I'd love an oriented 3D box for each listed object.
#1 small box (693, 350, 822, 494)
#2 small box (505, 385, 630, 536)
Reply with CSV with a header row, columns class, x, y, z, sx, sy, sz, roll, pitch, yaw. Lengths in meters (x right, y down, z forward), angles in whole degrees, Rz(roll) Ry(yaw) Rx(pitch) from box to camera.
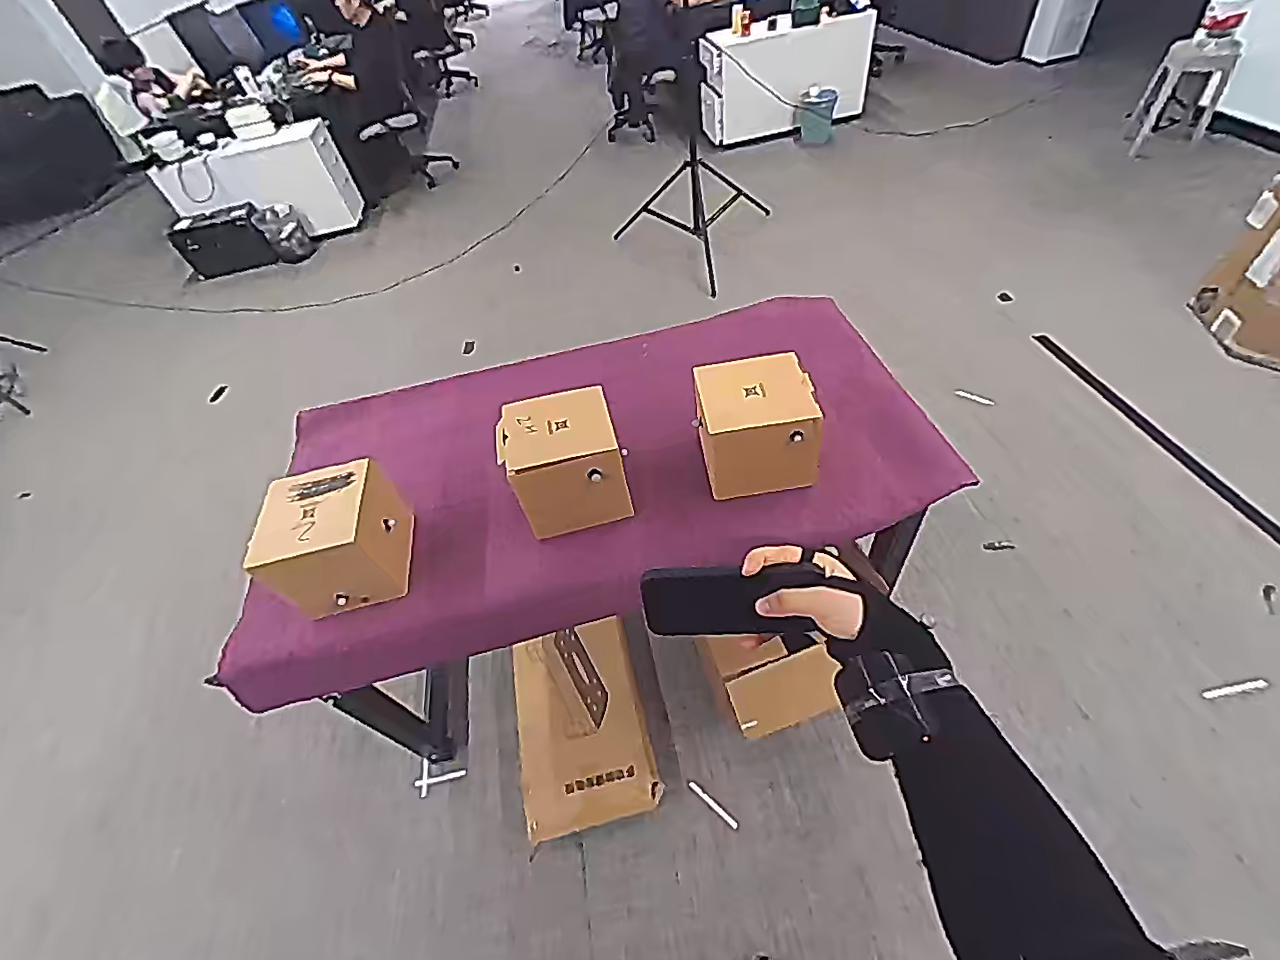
class,x,y,z,sx,sy,sz,roll,pitch,yaw
small box,0.194,-0.094,0.923,0.179,0.176,0.168,-9,49,2
small box,-0.119,-0.031,0.924,0.179,0.176,0.168,-15,47,-2
